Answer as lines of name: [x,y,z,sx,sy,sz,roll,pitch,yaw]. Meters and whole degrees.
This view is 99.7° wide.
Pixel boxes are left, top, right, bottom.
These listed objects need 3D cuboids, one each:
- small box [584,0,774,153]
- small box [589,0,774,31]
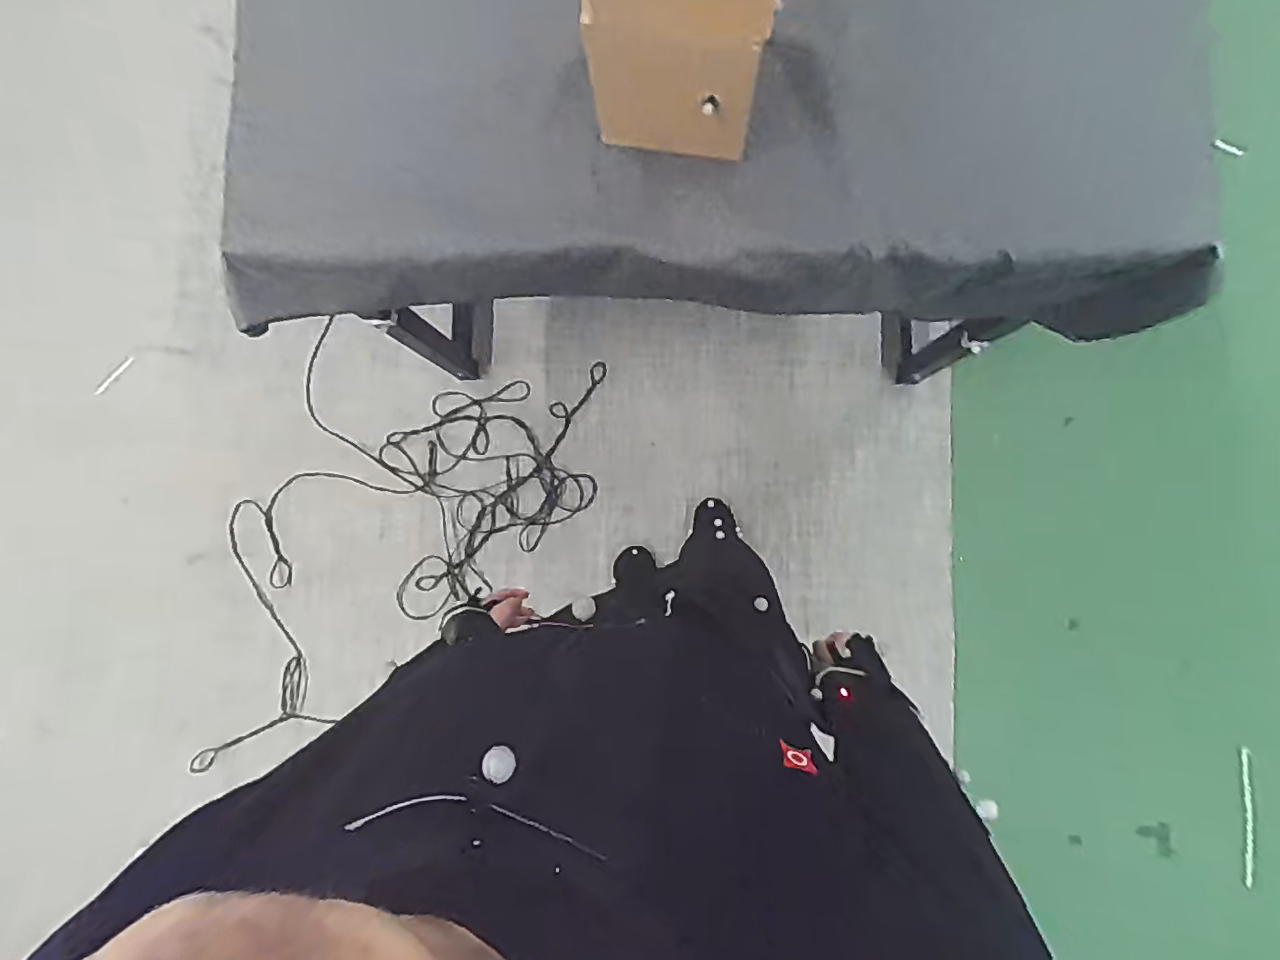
small box: [0.050,-0.493,0.592,0.179,0.176,0.168,9,86,4]
small box: [0.042,-0.509,0.430,0.179,0.176,0.168,9,86,3]
